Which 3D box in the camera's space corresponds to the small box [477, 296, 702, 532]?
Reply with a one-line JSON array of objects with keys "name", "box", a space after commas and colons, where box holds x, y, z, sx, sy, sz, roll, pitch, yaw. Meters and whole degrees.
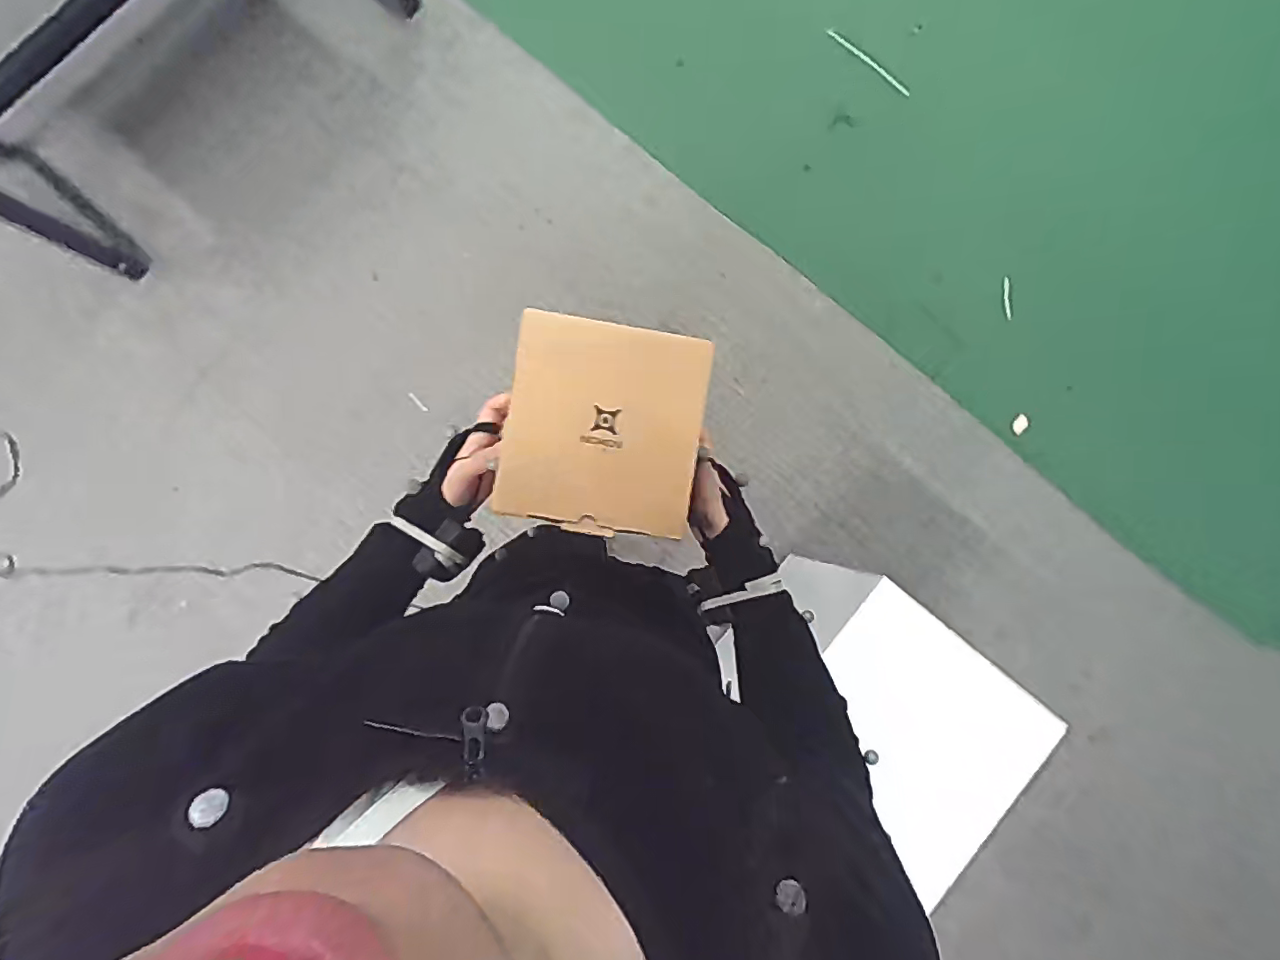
[{"name": "small box", "box": [-0.046, -0.053, 0.519, 0.168, 0.176, 0.179, 7, 90, -3]}]
